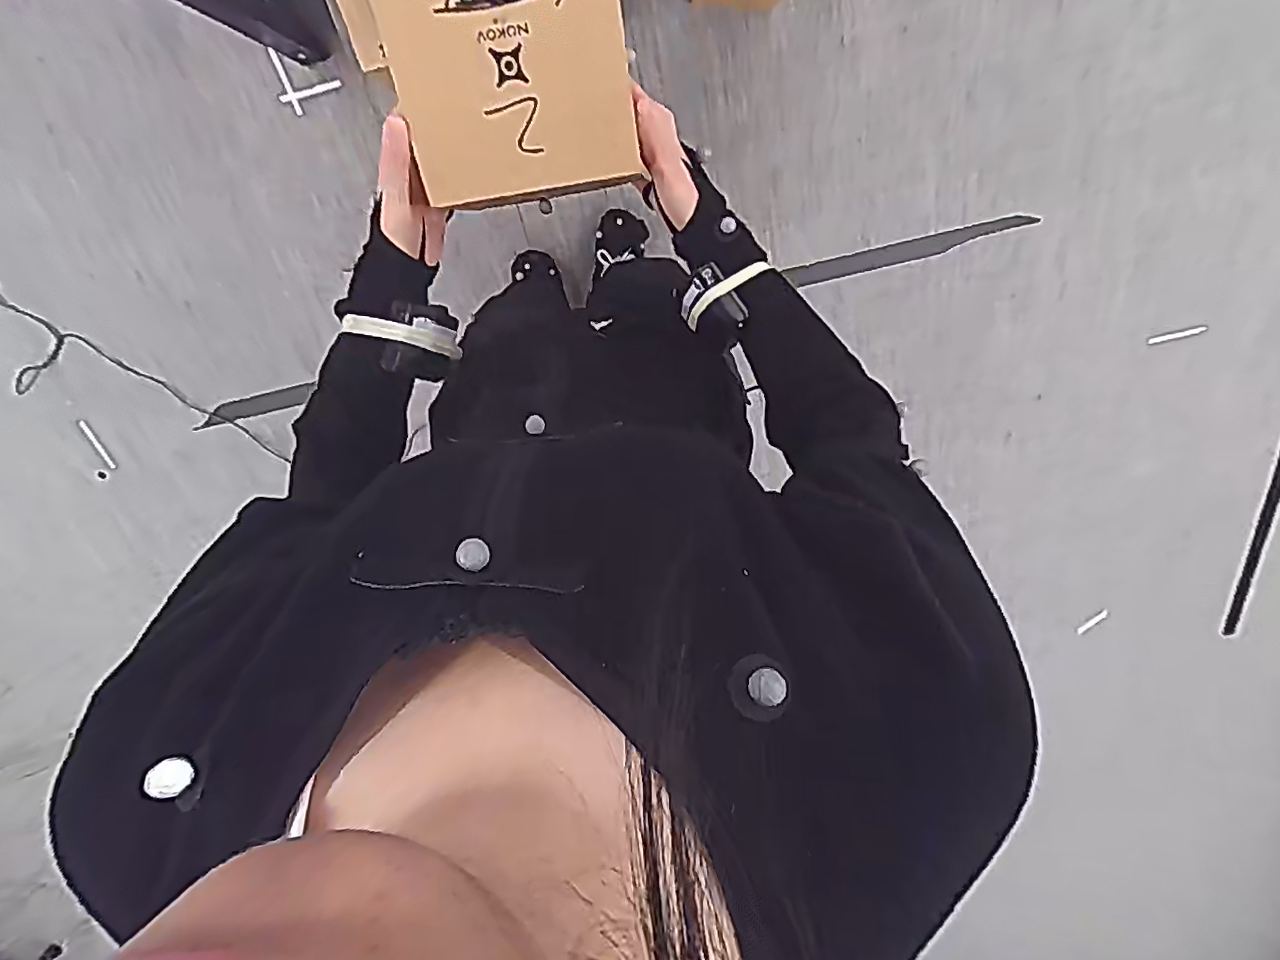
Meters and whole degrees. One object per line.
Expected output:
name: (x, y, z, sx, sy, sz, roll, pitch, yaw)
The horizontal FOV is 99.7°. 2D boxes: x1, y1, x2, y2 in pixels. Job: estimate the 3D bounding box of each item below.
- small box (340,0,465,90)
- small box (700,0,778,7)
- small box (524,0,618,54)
small box: (-0.453, -0.882, 1.031, 0.168, 0.176, 0.179, -11, 114, 2)
small box: (0.206, -1.018, 1.009, 0.179, 0.176, 0.168, 2, 116, -4)
small box: (-0.144, -0.949, 1.018, 0.168, 0.176, 0.179, -14, 116, 3)
